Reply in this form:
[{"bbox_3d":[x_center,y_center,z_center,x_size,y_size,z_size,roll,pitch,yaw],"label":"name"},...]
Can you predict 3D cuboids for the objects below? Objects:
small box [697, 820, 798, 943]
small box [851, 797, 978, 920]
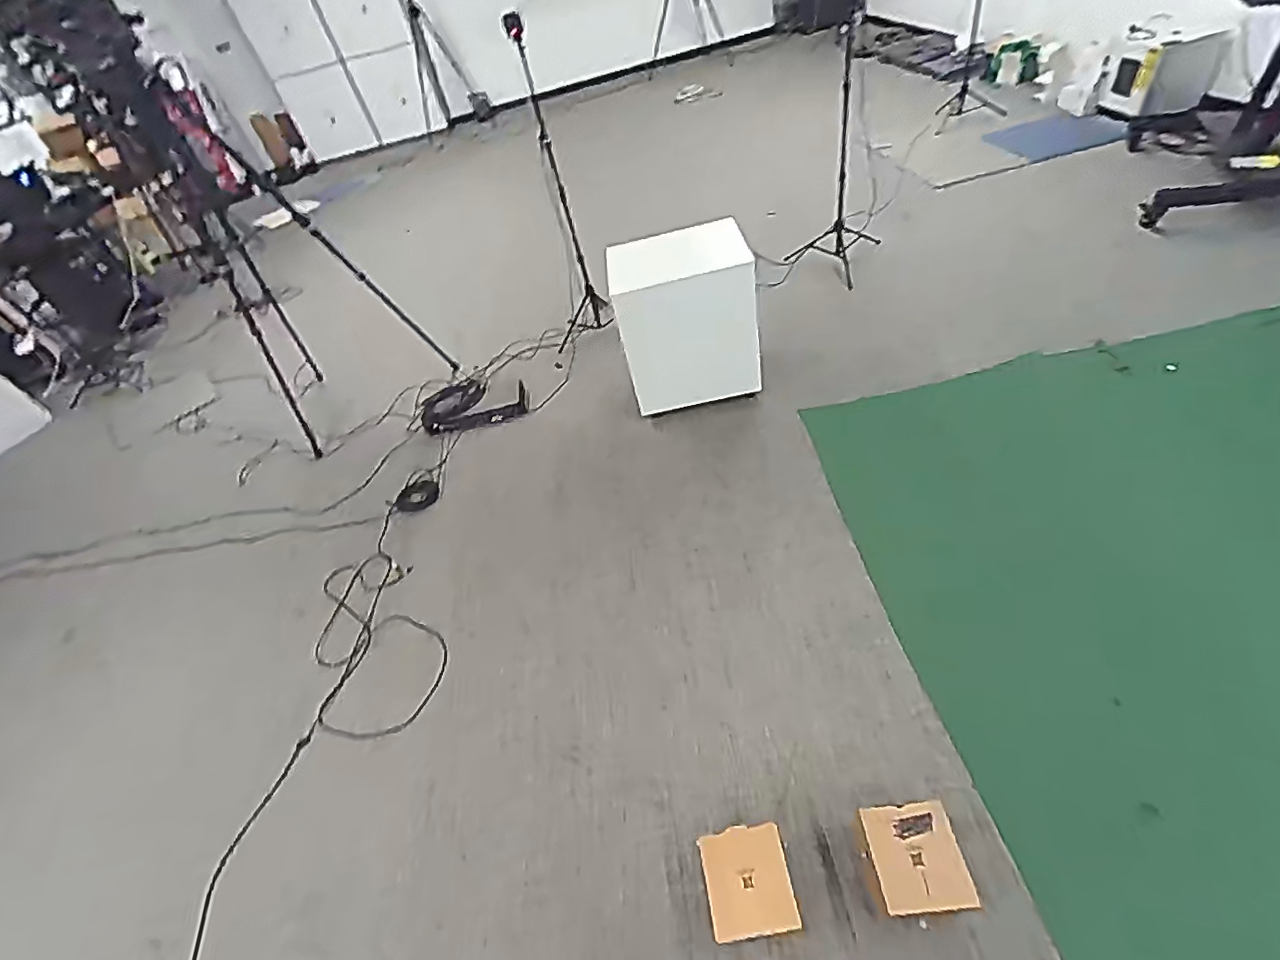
[{"bbox_3d":[0.222,0.836,1.120,0.168,0.176,0.179,-13,45,3],"label":"small box"},{"bbox_3d":[0.541,0.768,1.096,0.168,0.176,0.179,-10,47,6],"label":"small box"}]
